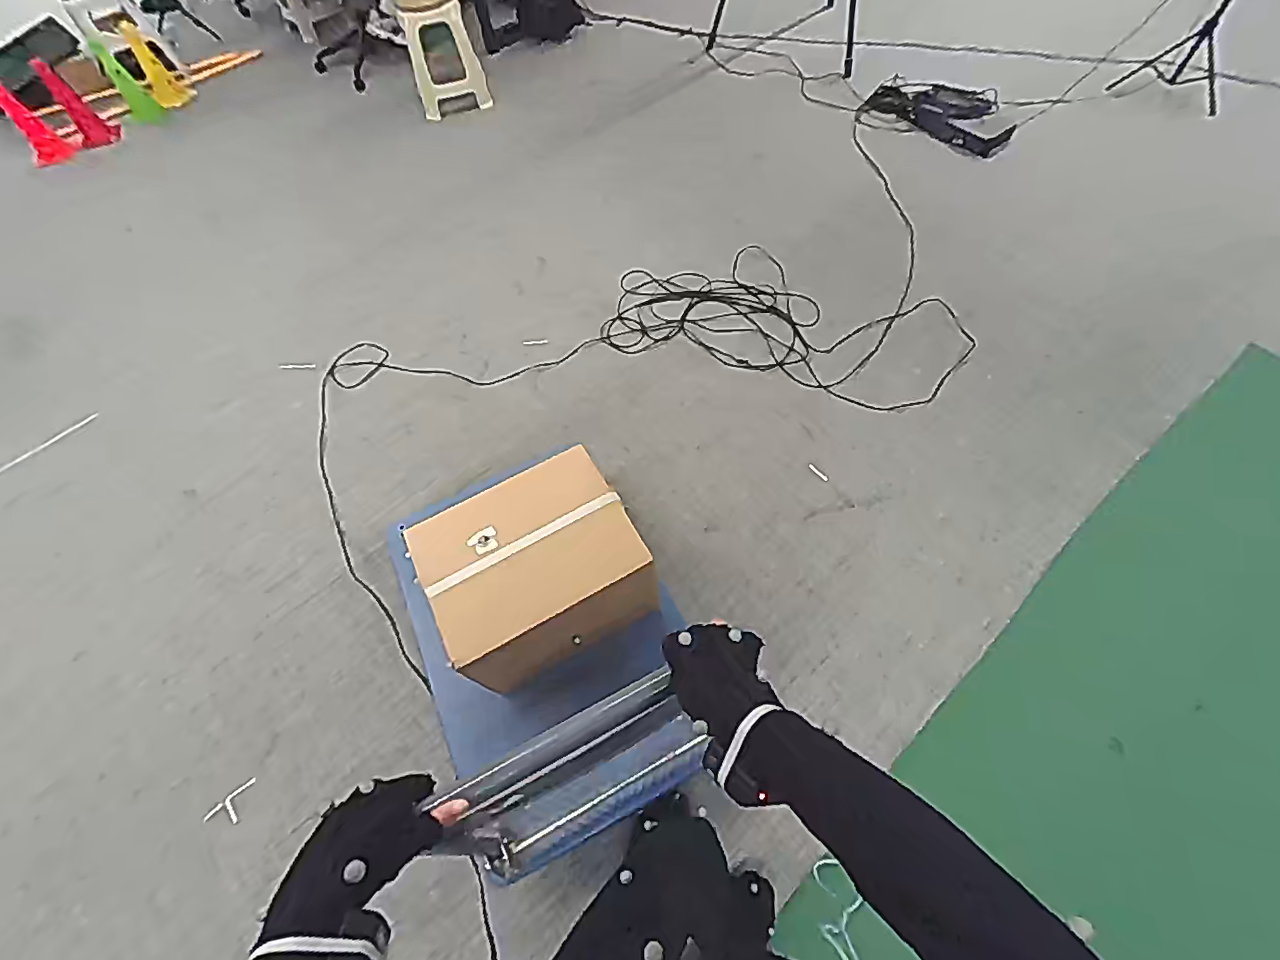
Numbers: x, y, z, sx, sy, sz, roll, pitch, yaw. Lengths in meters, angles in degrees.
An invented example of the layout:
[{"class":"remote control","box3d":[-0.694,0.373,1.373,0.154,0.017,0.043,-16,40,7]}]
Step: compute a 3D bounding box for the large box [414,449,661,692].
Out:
[{"class":"large box","box3d":[-0.203,0.208,1.195,0.408,0.320,0.320,-29,61,-10]}]
